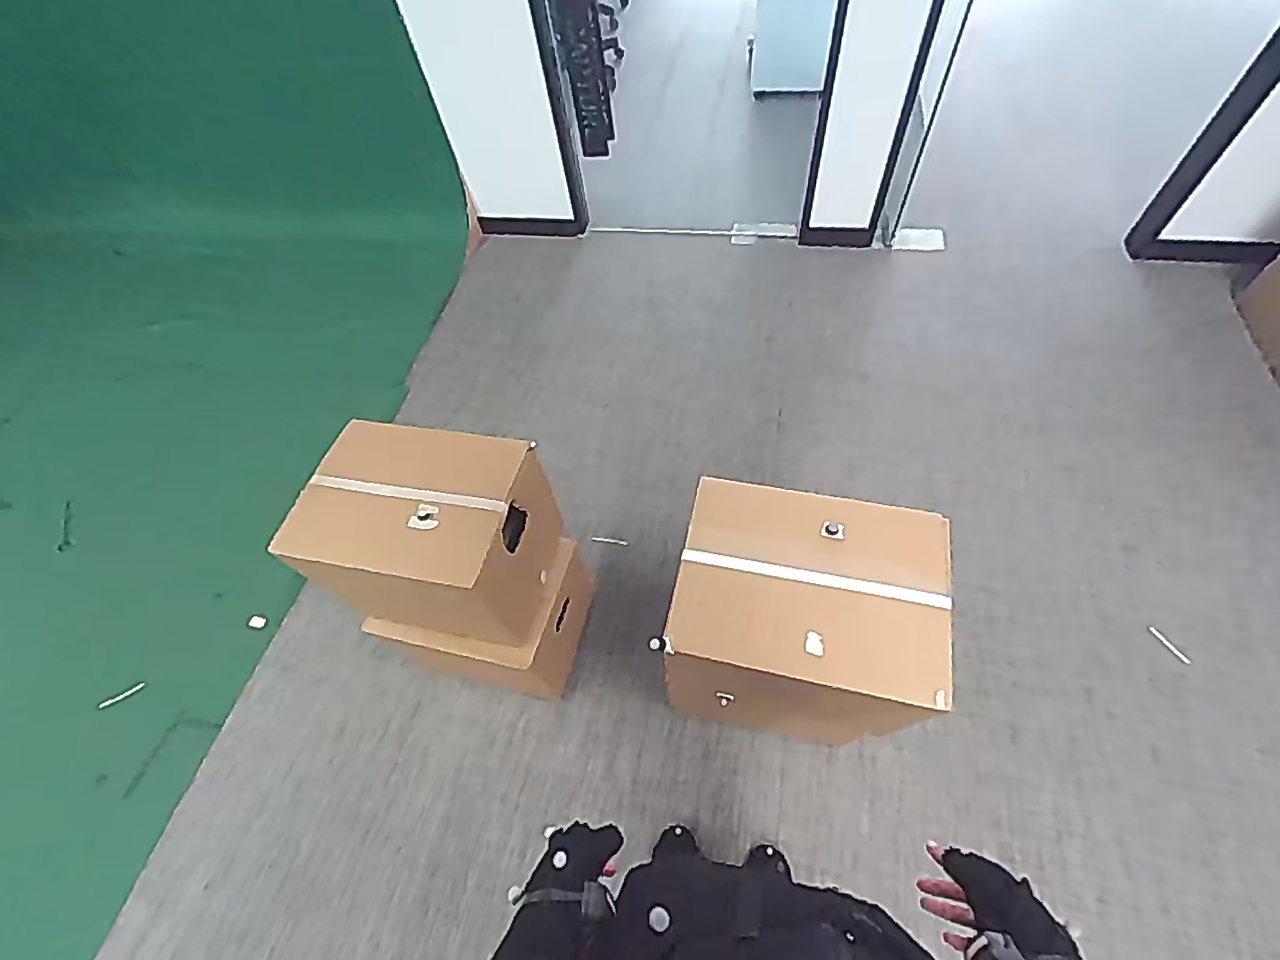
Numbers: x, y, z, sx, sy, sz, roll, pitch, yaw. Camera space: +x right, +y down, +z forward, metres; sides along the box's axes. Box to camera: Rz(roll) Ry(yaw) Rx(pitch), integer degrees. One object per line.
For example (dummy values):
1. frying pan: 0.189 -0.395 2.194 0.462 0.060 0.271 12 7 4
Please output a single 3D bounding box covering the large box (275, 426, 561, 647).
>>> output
1. large box: -0.420 0.120 1.130 0.408 0.320 0.320 8 56 10
